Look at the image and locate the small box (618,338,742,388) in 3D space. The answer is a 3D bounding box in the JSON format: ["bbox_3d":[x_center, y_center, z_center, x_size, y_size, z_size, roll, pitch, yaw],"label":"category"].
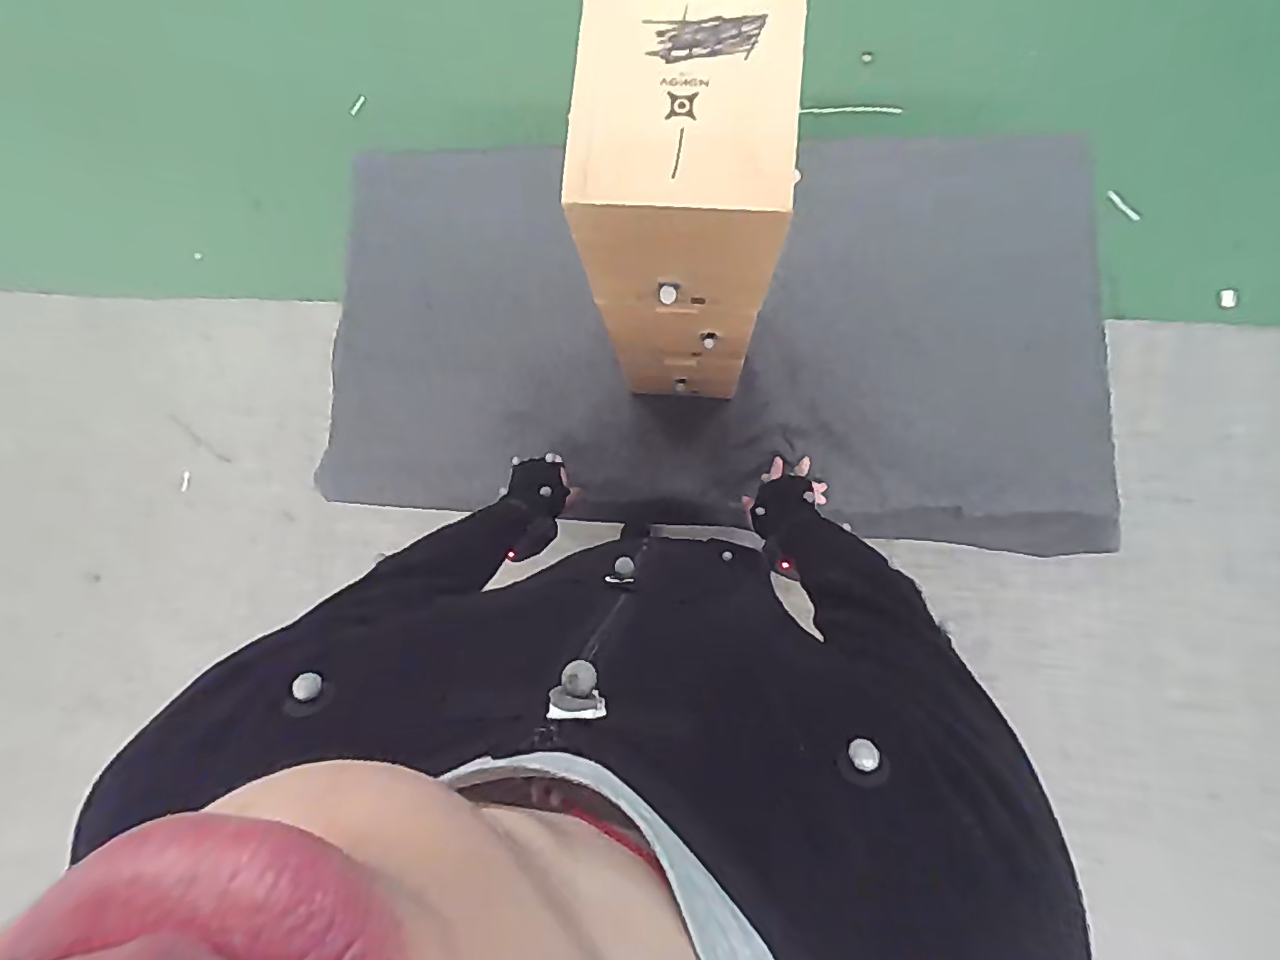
[{"bbox_3d":[0.067,-0.239,0.786,0.168,0.176,0.179,5,85,6],"label":"small box"}]

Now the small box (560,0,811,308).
[{"bbox_3d":[0.038,-0.269,0.462,0.168,0.176,0.179,5,86,5],"label":"small box"}]

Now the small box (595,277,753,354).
[{"bbox_3d":[0.049,-0.256,0.625,0.168,0.176,0.179,4,83,5],"label":"small box"}]
